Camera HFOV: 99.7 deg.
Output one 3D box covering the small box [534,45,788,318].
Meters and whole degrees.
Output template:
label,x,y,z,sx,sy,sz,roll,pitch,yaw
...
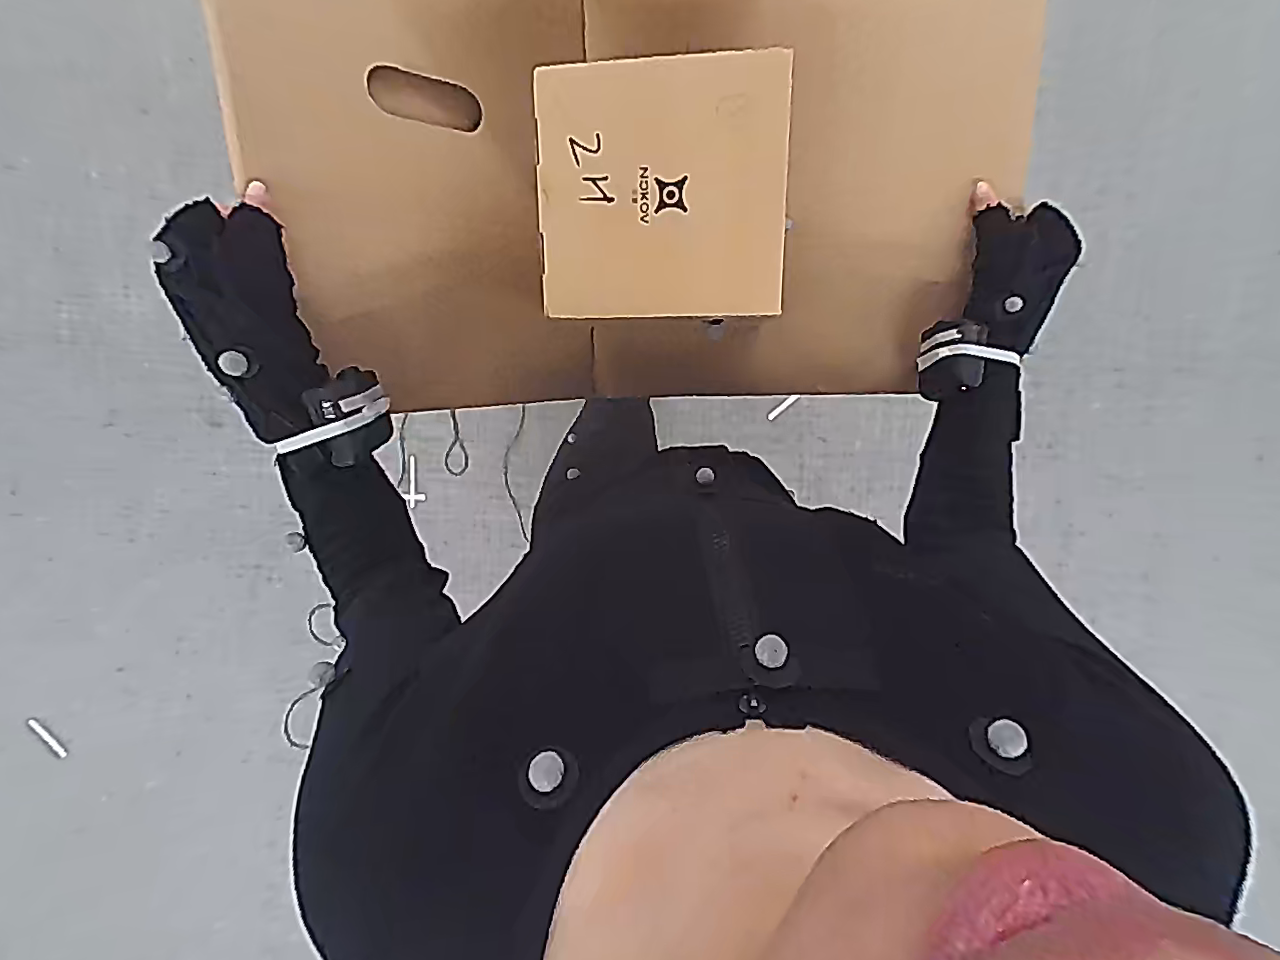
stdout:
label,x,y,z,sx,sy,sz,roll,pitch,yaw
small box,0.021,-0.230,0.462,0.179,0.176,0.168,2,103,7
